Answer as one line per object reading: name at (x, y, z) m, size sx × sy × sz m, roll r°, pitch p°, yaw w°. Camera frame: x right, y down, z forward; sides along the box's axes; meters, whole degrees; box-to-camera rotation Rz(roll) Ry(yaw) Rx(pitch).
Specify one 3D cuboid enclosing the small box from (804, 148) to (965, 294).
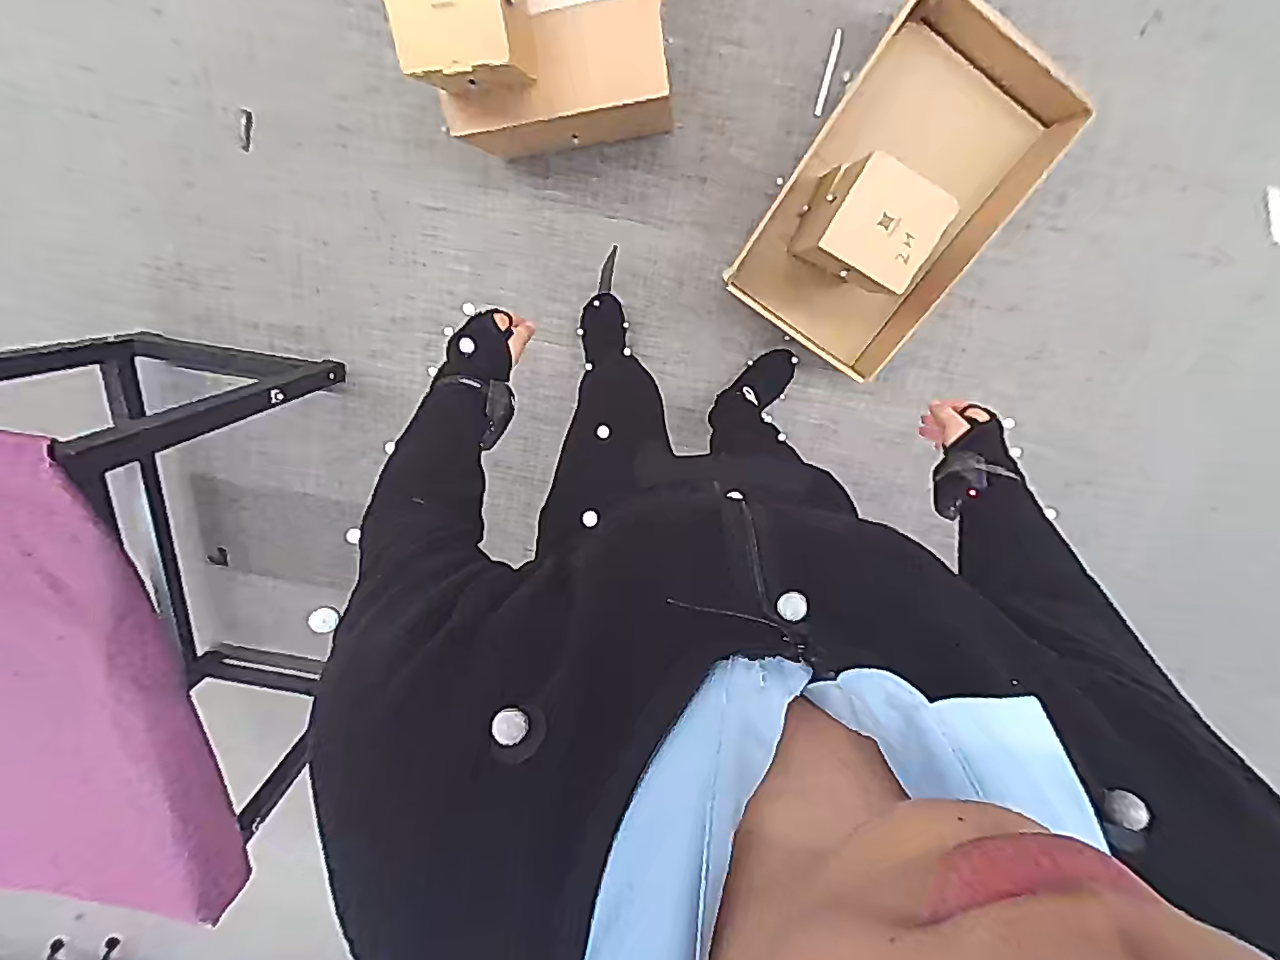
small box at (0.423, -0.453, 0.973) m, size 0.179 × 0.176 × 0.168 m, roll 28°, pitch 110°, yaw -7°
